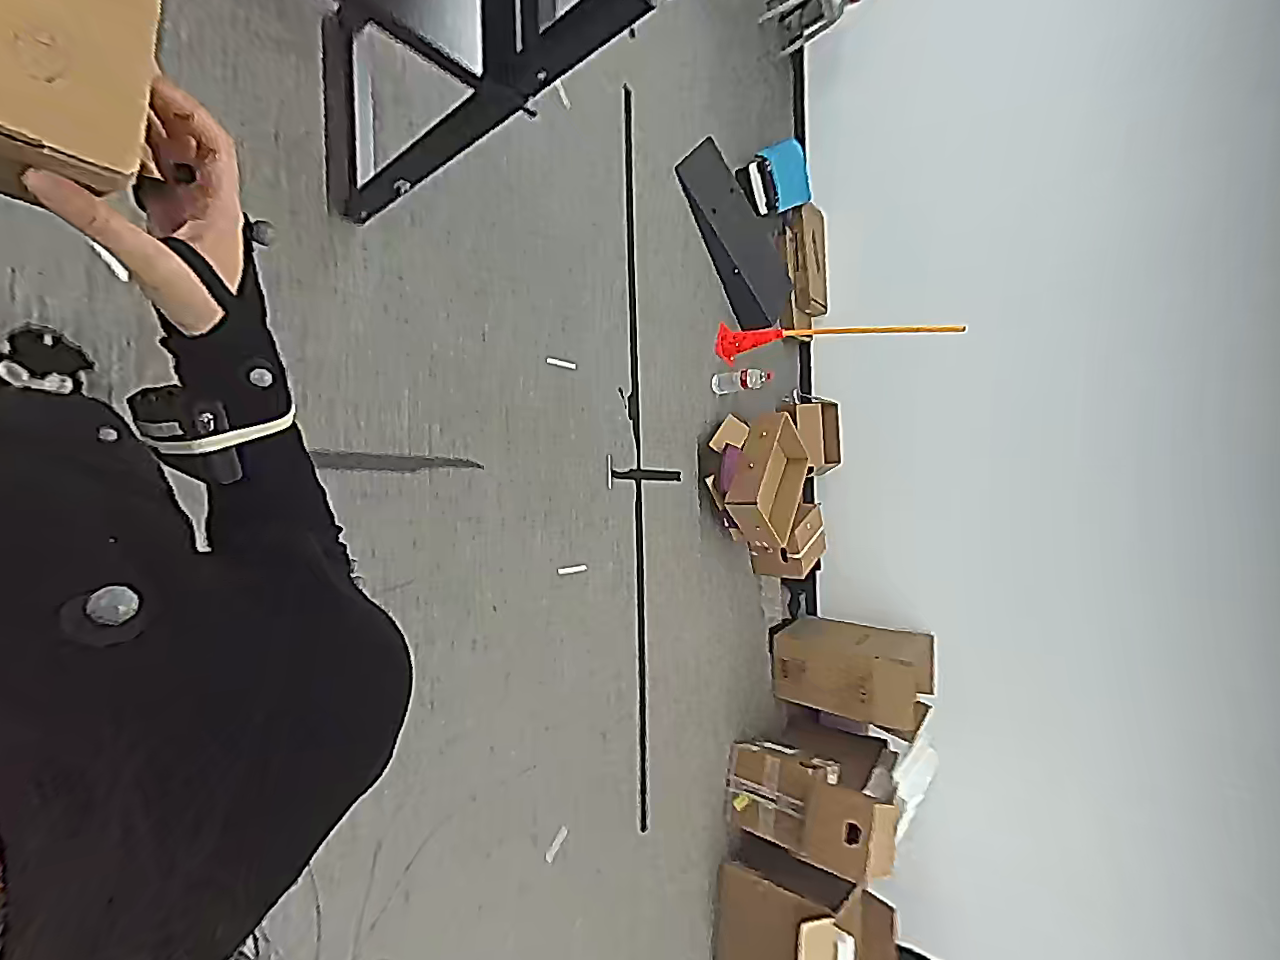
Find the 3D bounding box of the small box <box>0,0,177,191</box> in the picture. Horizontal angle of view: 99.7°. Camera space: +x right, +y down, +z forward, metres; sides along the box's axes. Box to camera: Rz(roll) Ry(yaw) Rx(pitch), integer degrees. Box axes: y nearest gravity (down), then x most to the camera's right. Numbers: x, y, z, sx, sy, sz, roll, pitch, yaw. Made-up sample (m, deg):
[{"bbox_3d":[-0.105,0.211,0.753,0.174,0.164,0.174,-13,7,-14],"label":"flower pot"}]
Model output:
[{"bbox_3d":[-0.326,-0.249,0.232,0.168,0.176,0.179,5,99,-56],"label":"small box"}]
